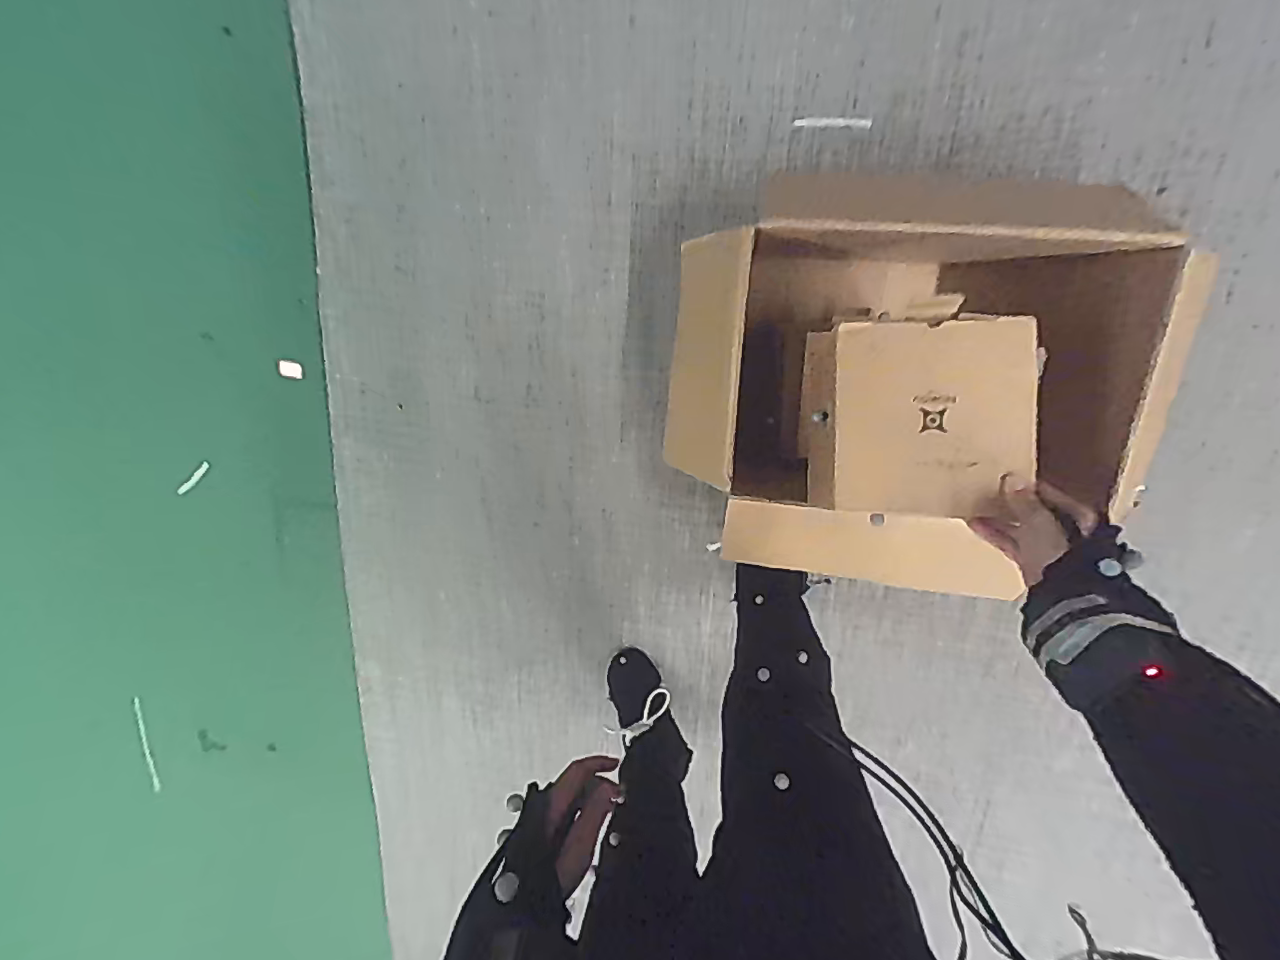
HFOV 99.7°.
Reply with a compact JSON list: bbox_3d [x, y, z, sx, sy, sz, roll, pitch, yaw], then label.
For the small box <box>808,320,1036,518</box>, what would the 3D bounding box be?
[{"bbox_3d":[0.271,-0.052,0.557,0.168,0.176,0.179,1,88,8],"label":"small box"}]
